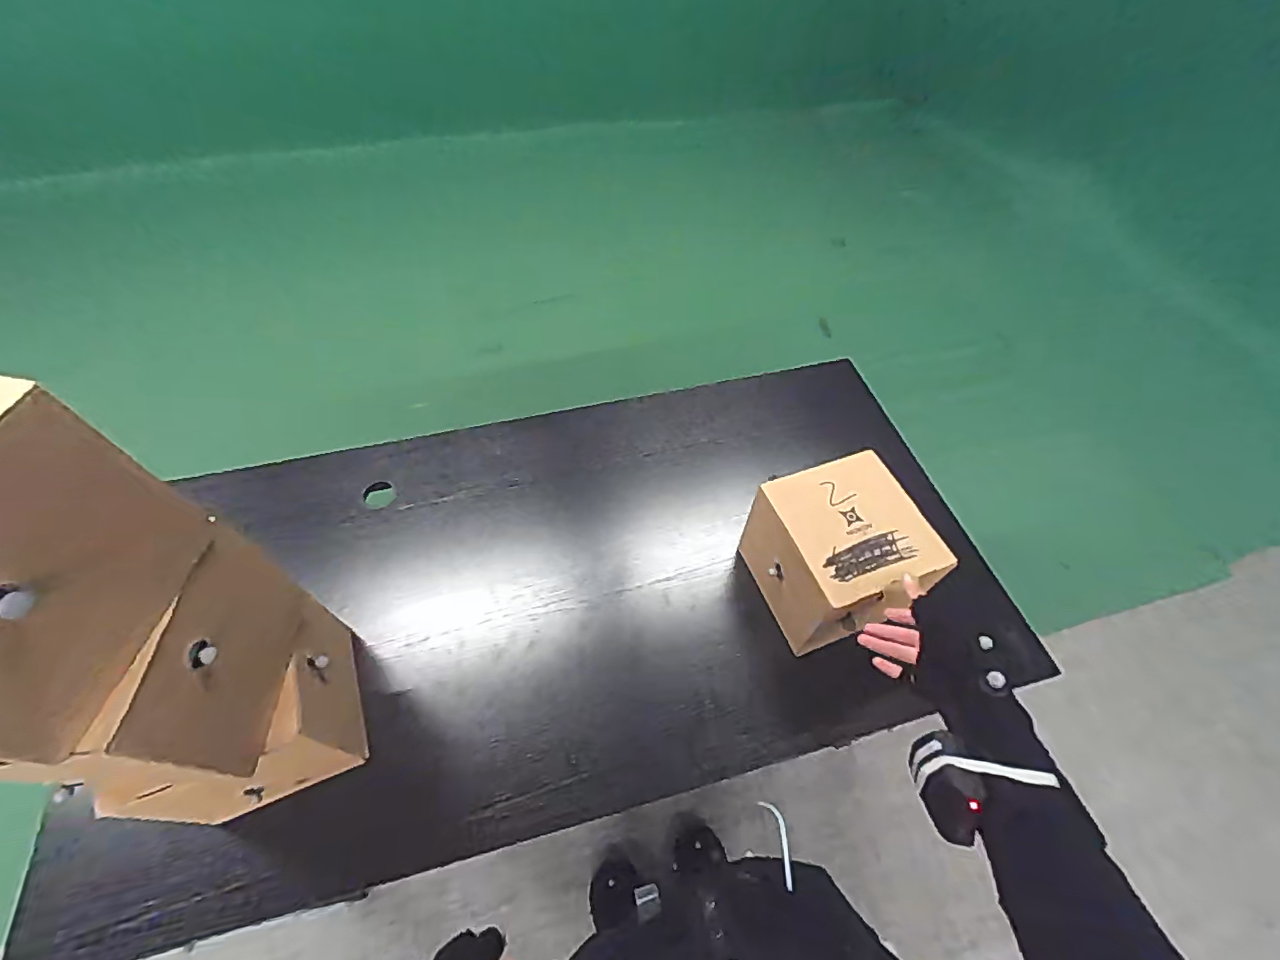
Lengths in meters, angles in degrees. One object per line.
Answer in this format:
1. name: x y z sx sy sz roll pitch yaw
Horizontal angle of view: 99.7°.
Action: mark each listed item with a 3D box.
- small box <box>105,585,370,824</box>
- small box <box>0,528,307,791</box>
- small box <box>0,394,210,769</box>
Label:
1. small box: -0.419 0.248 0.591 0.168 0.176 0.179 -19 59 -14
2. small box: -0.418 0.157 0.455 0.168 0.176 0.179 -1 56 -3
3. small box: -0.418 0.060 0.322 0.168 0.176 0.179 8 57 3
